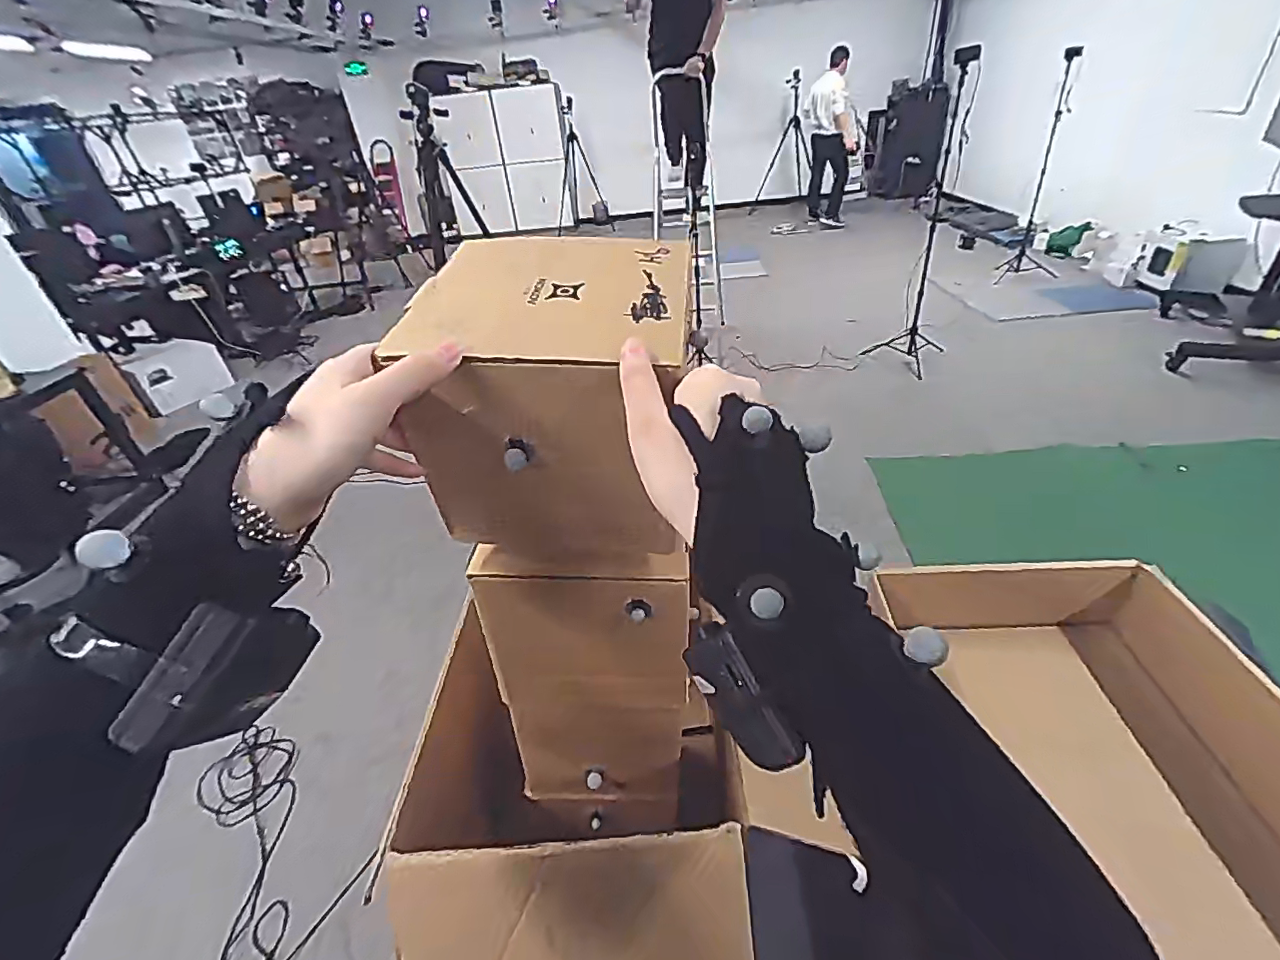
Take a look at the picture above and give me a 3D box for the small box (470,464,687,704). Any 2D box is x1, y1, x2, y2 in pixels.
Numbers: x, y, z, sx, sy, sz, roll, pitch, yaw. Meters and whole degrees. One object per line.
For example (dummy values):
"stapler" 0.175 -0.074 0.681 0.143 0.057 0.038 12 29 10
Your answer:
"small box" -0.044 0.099 0.531 0.179 0.176 0.168 1 34 2
